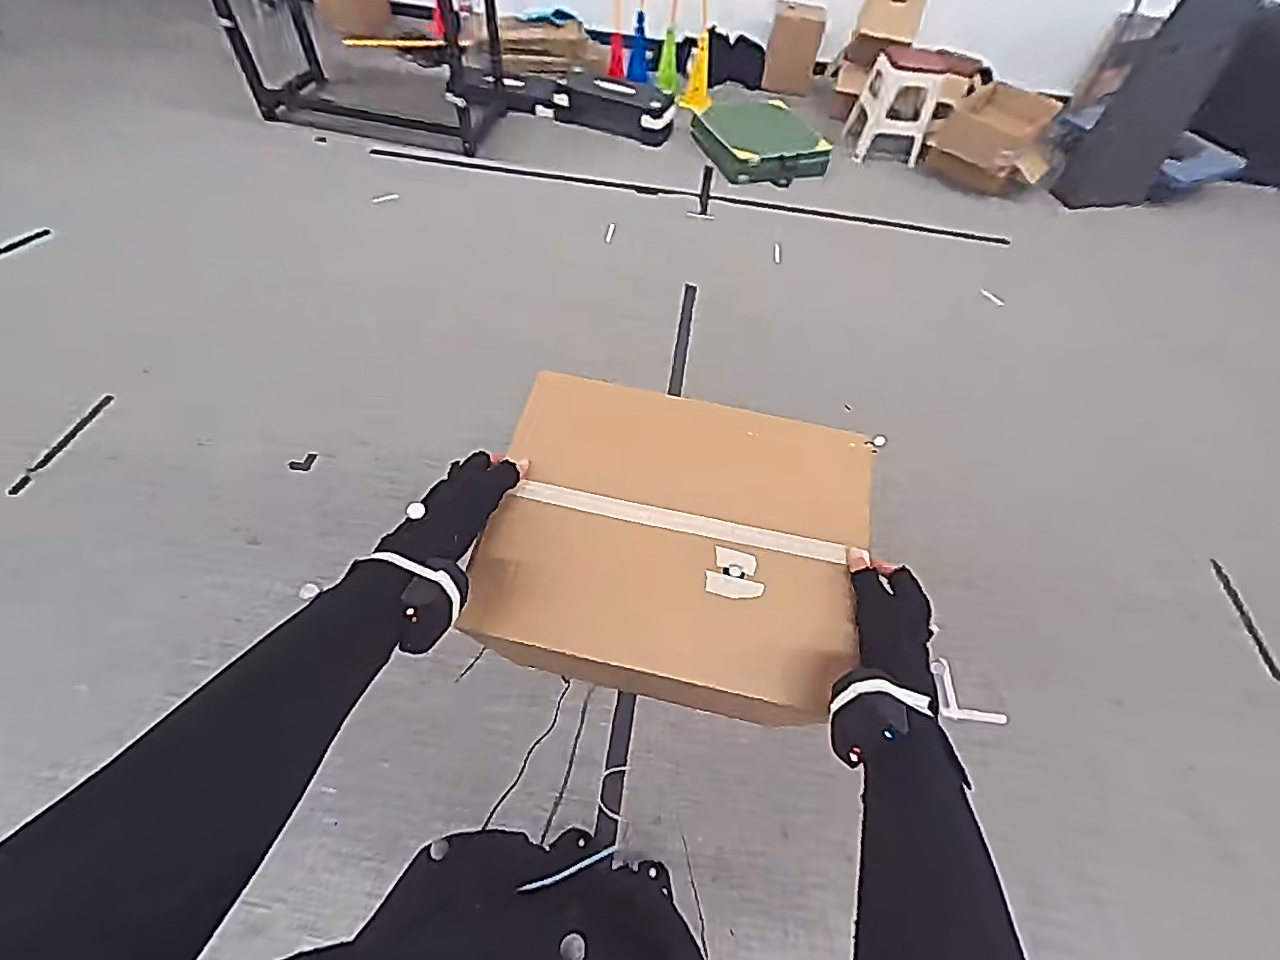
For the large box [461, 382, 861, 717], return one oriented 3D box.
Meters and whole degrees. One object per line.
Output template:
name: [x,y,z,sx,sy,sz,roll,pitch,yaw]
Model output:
large box: [0.035,0.111,0.728,0.408,0.320,0.320,12,66,4]
